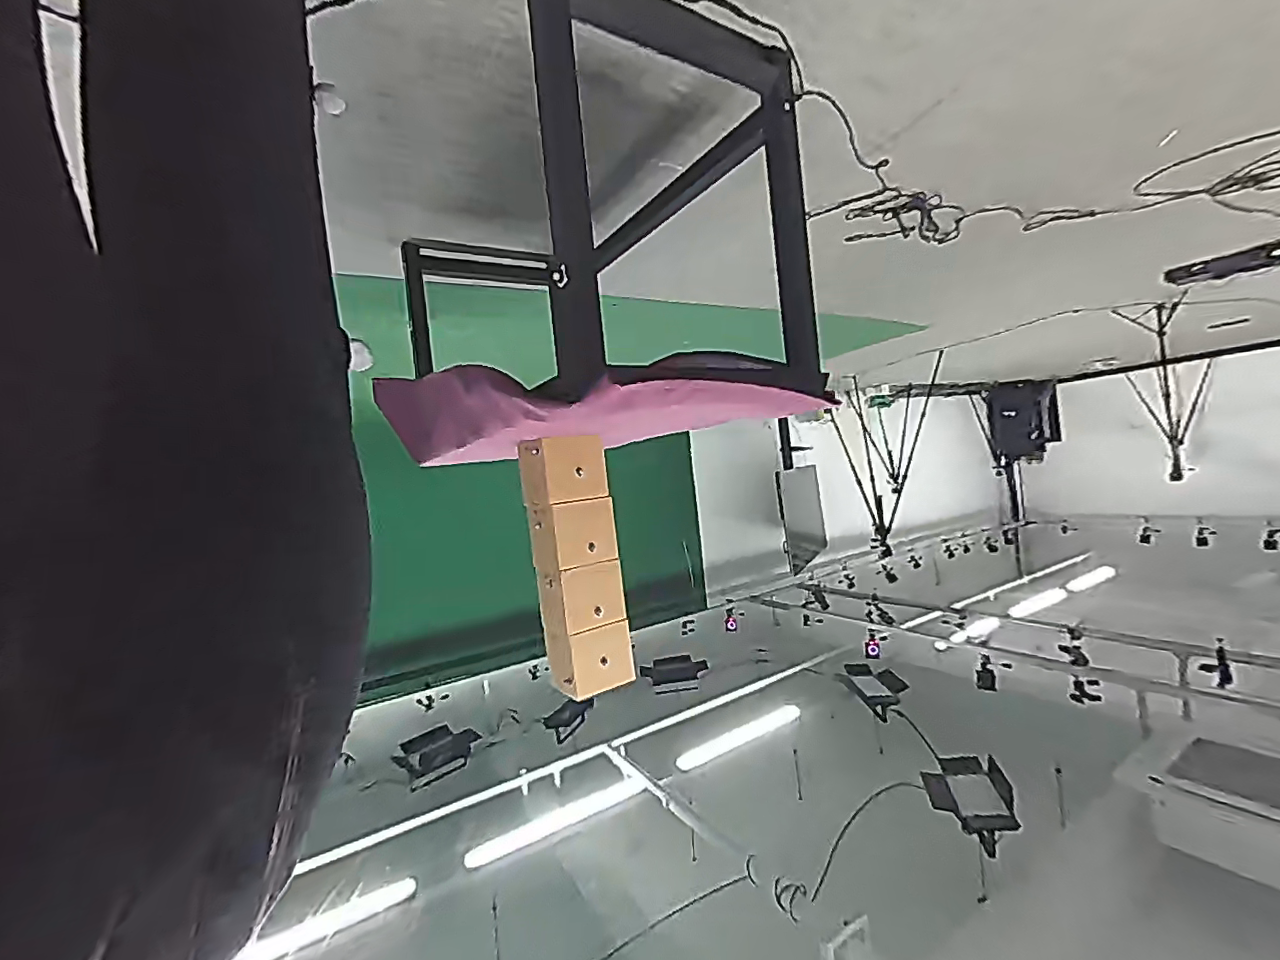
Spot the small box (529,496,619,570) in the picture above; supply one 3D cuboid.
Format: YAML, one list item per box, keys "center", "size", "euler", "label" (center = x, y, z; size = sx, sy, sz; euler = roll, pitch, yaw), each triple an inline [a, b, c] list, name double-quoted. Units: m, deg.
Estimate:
- center: [-0.178, 0.134, 1.436]
  size: [0.179, 0.176, 0.168]
  euler: [-6, 180, -33]
  label: "small box"

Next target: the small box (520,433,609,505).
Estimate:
- center: [-0.204, -0.029, 1.432]
  size: [0.179, 0.176, 0.168]
  euler: [-8, -179, -34]
  label: "small box"

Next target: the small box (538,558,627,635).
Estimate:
- center: [-0.156, 0.295, 1.441]
  size: [0.179, 0.176, 0.168]
  euler: [-7, 180, -33]
  label: "small box"
